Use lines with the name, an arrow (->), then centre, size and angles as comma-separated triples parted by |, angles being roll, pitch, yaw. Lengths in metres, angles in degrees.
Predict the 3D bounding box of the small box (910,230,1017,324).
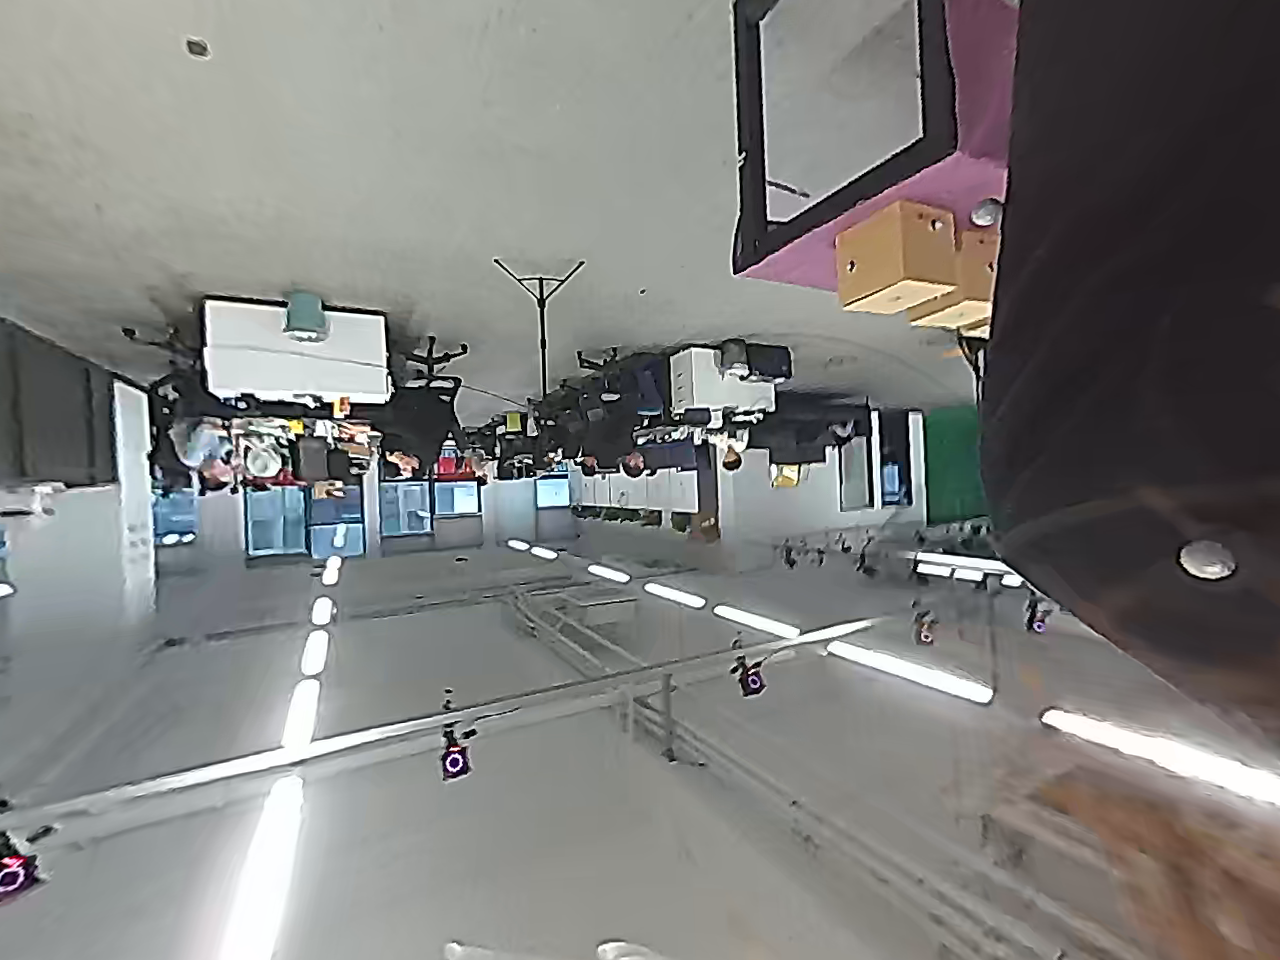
small box -> 0.789, -0.497, 1.338 | 0.168, 0.176, 0.179 | -2, 180, -19

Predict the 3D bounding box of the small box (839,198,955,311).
small box -> 0.561, -0.487, 1.189 | 0.168, 0.176, 0.179 | -4, -179, -25
